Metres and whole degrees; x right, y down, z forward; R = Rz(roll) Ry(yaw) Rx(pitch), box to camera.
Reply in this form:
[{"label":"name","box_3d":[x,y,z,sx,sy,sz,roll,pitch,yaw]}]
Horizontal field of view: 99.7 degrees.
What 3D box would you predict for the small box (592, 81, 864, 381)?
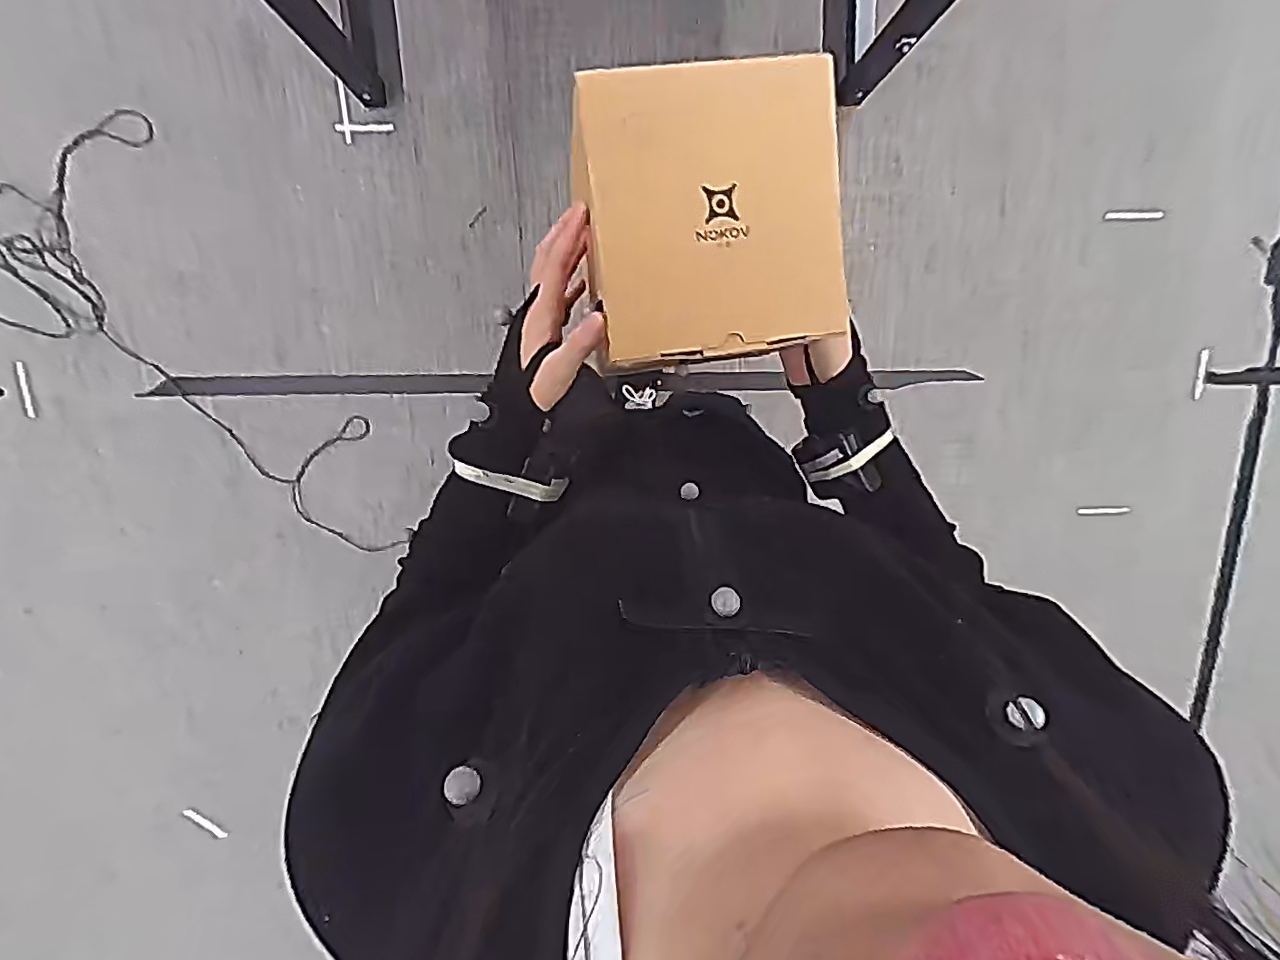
[{"label":"small box","box_3d":[0.056,-0.176,0.432,0.168,0.176,0.179,-8,101,-7]}]
